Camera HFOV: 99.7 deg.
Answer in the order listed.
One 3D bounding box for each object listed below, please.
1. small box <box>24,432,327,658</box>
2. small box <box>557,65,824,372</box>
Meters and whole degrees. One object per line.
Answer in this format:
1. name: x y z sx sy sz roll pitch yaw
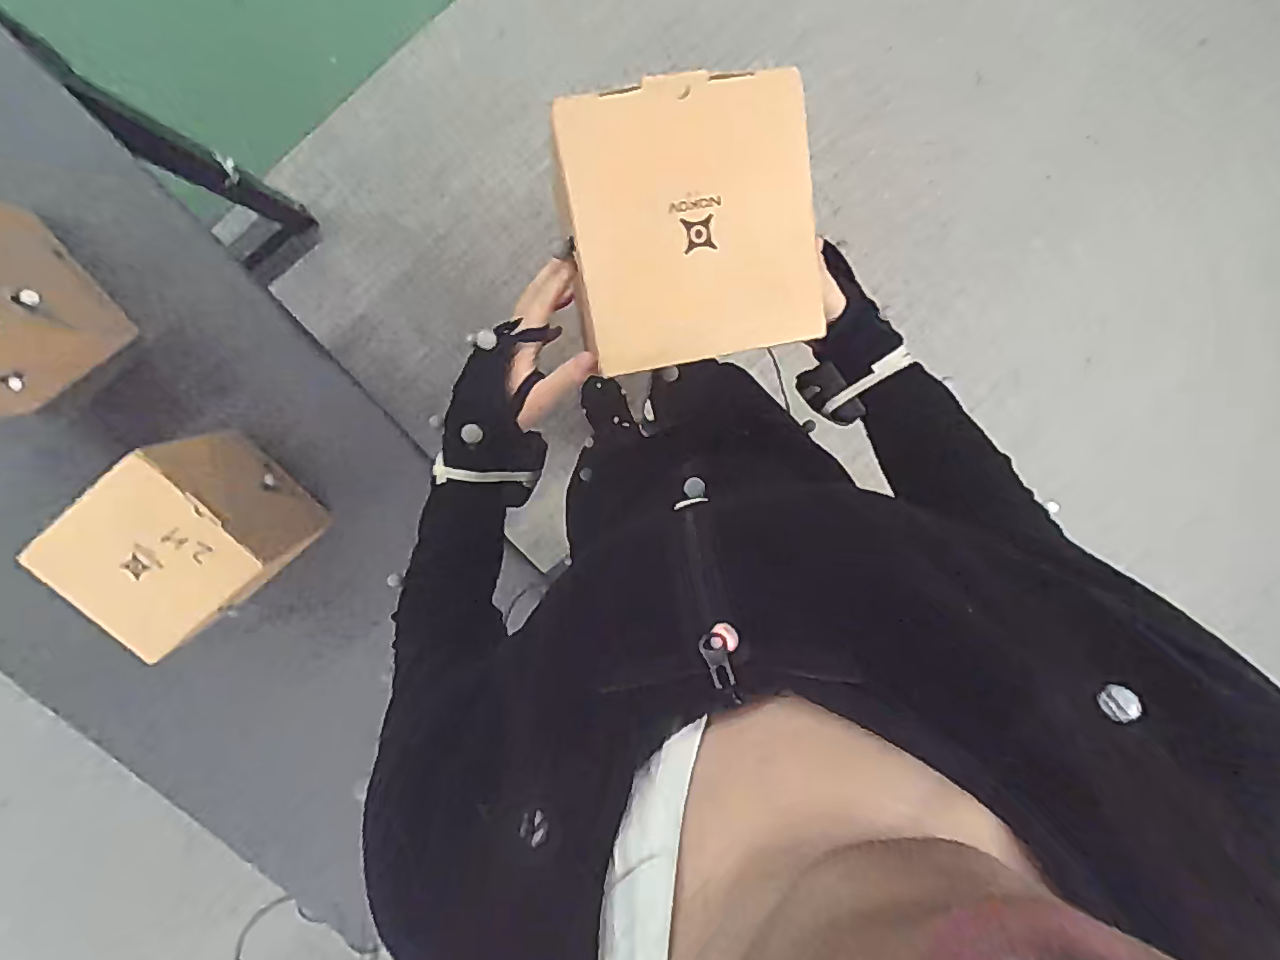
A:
1. small box: -0.521 0.064 0.640 0.179 0.176 0.168 -40 103 4
2. small box: 0.031 -0.190 0.443 0.168 0.176 0.179 -11 103 -5
